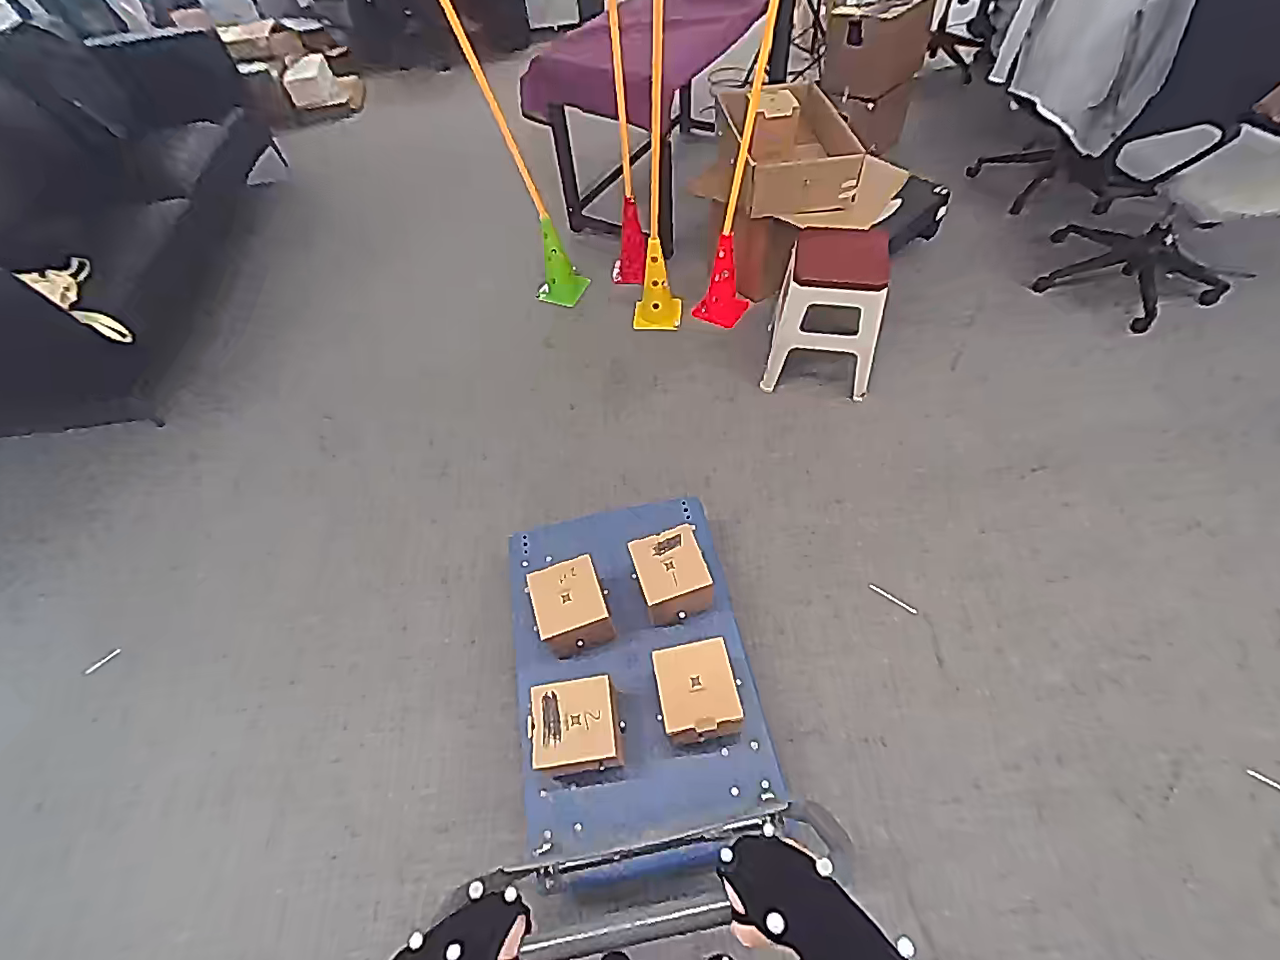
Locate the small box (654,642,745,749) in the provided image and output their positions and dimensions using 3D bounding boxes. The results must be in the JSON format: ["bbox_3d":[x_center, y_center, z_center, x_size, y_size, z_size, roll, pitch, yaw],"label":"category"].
[{"bbox_3d":[0.129,0.491,1.225,0.168,0.176,0.179,-12,57,-1],"label":"small box"}]

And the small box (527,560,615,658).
[{"bbox_3d":[-0.169,0.332,1.360,0.168,0.176,0.179,-18,57,-7],"label":"small box"}]

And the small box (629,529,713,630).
[{"bbox_3d":[0.079,0.258,1.383,0.168,0.176,0.179,-18,57,-5],"label":"small box"}]
